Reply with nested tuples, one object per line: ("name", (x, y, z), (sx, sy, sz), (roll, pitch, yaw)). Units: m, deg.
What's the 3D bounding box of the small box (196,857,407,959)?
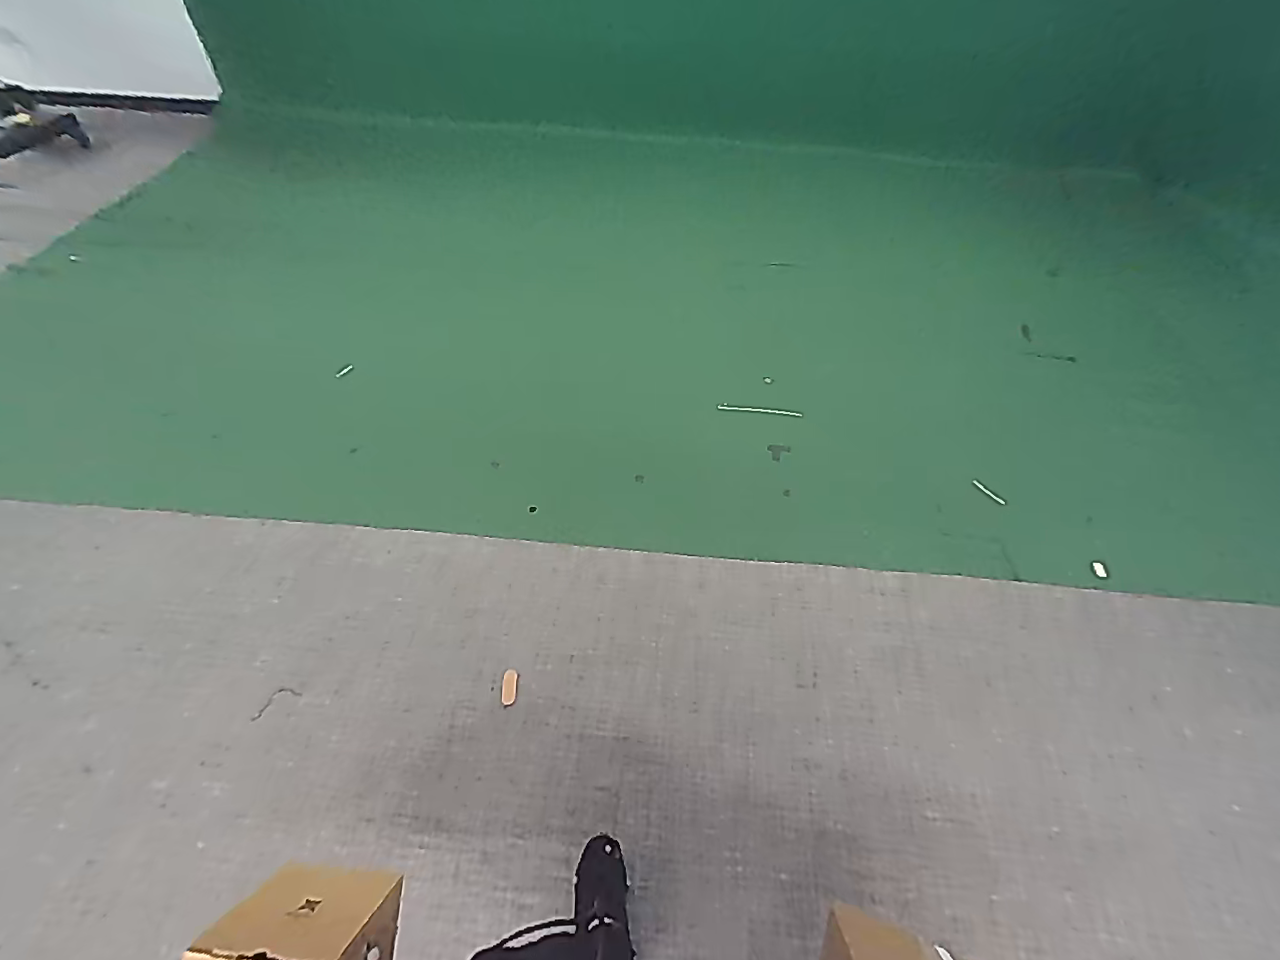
("small box", (-0.410, 0.601, 0.655), (0.168, 0.179, 0.176), (4, 83, 1))
